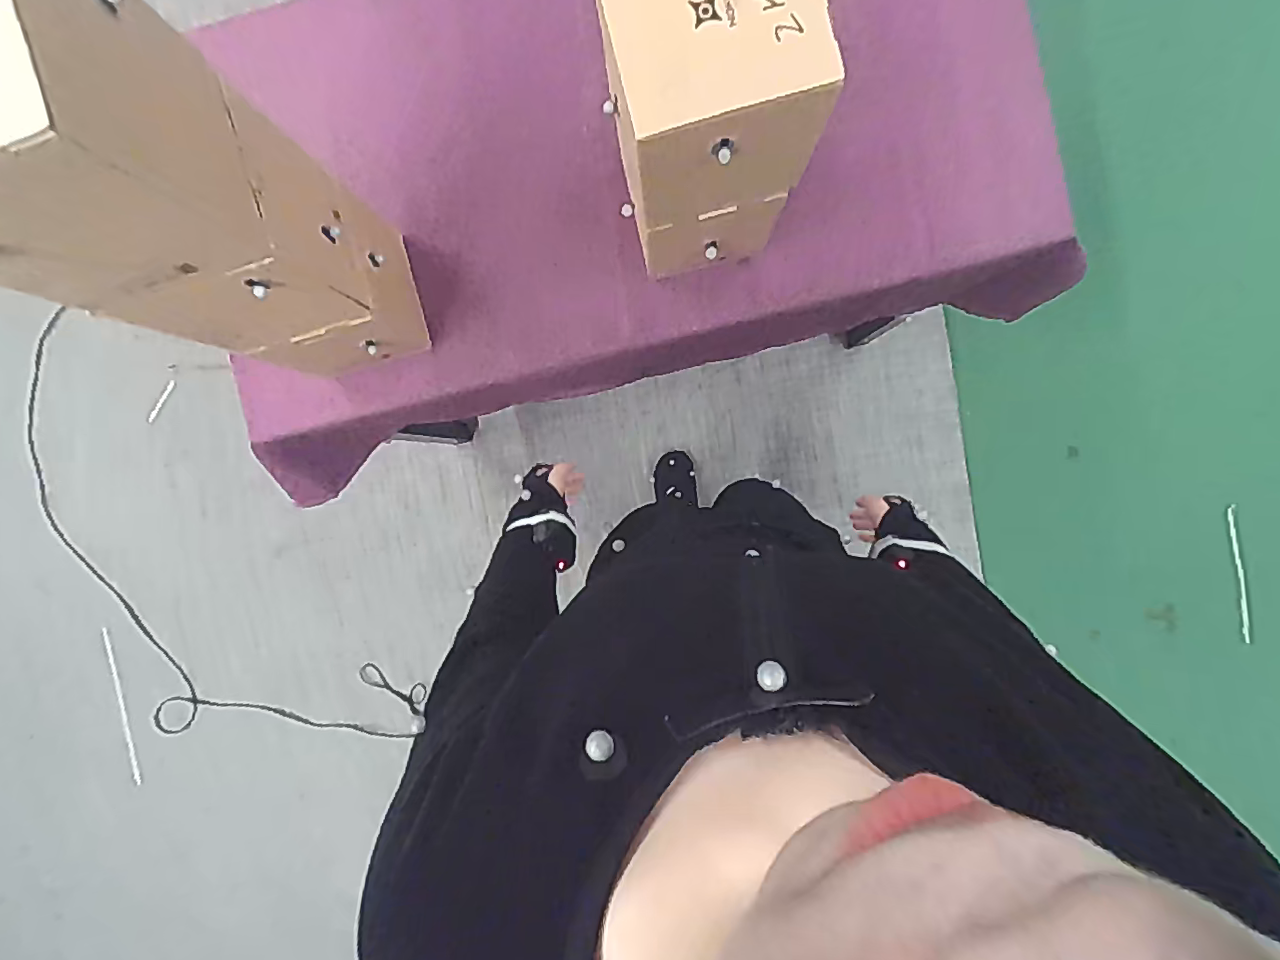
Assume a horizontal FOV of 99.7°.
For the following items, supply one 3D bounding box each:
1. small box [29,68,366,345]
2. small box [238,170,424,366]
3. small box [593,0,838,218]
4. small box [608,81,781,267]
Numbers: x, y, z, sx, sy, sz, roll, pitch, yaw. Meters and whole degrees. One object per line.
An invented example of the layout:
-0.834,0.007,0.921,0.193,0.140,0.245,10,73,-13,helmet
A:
-0.417,-0.249,0.541,0.179,0.176,0.168,-17,91,1,small box
-0.407,-0.255,0.703,0.168,0.176,0.179,-15,91,2,small box
0.061,-0.378,0.514,0.179,0.176,0.168,-14,92,3,small box
0.065,-0.386,0.679,0.168,0.176,0.179,-13,92,2,small box
